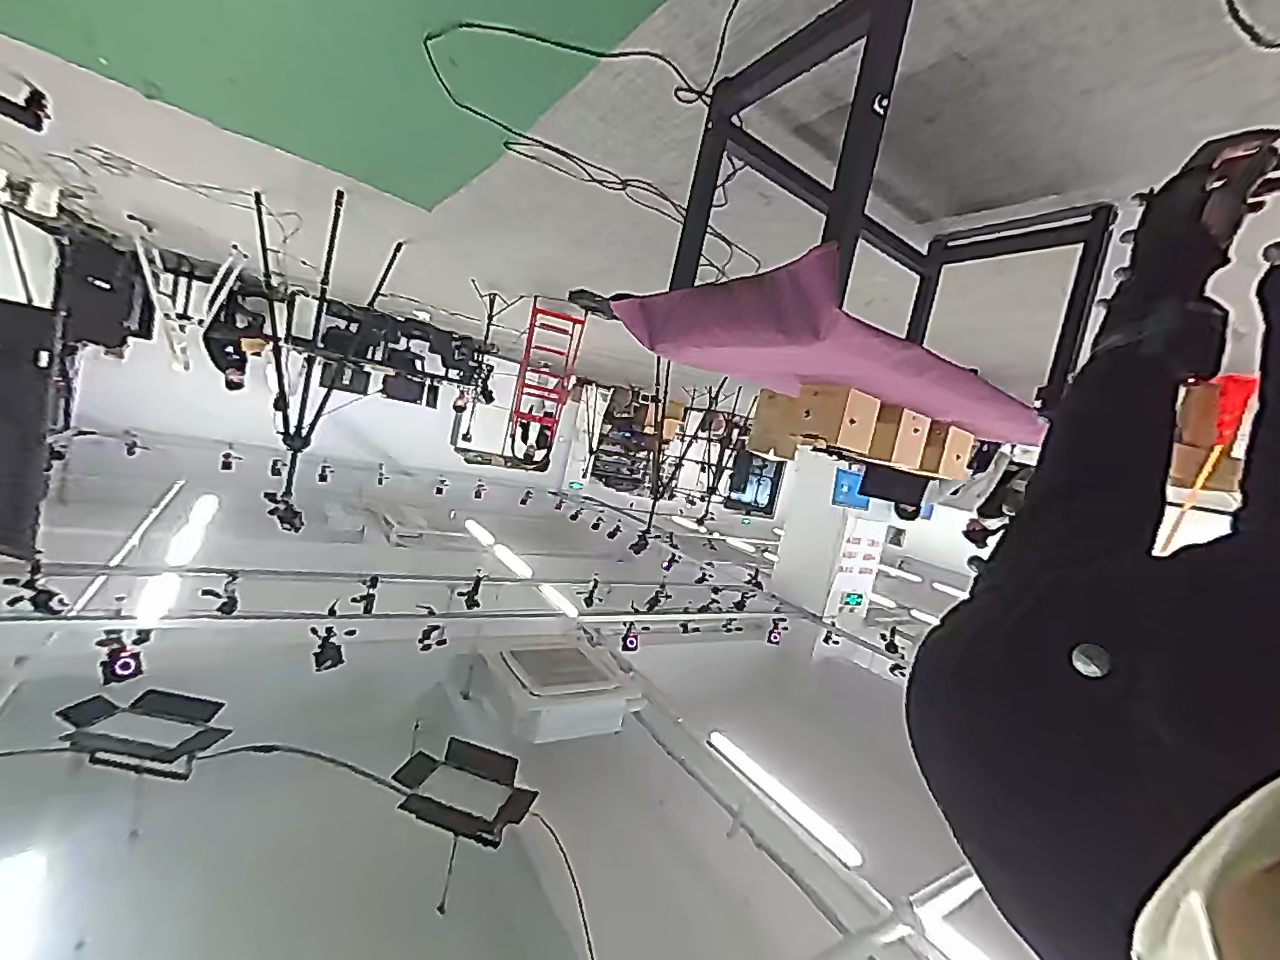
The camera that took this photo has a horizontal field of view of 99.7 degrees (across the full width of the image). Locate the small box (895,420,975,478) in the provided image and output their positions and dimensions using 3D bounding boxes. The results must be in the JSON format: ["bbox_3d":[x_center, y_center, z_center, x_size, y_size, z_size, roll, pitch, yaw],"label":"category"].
[{"bbox_3d":[1.011,-0.110,1.852,0.179,0.176,0.168,8,-174,-35],"label":"small box"}]

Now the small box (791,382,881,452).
[{"bbox_3d":[0.572,-0.185,1.573,0.179,0.176,0.168,8,-174,-39],"label":"small box"}]

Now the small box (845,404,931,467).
[{"bbox_3d":[0.792,-0.148,1.725,0.168,0.176,0.179,9,-175,-36],"label":"small box"}]
